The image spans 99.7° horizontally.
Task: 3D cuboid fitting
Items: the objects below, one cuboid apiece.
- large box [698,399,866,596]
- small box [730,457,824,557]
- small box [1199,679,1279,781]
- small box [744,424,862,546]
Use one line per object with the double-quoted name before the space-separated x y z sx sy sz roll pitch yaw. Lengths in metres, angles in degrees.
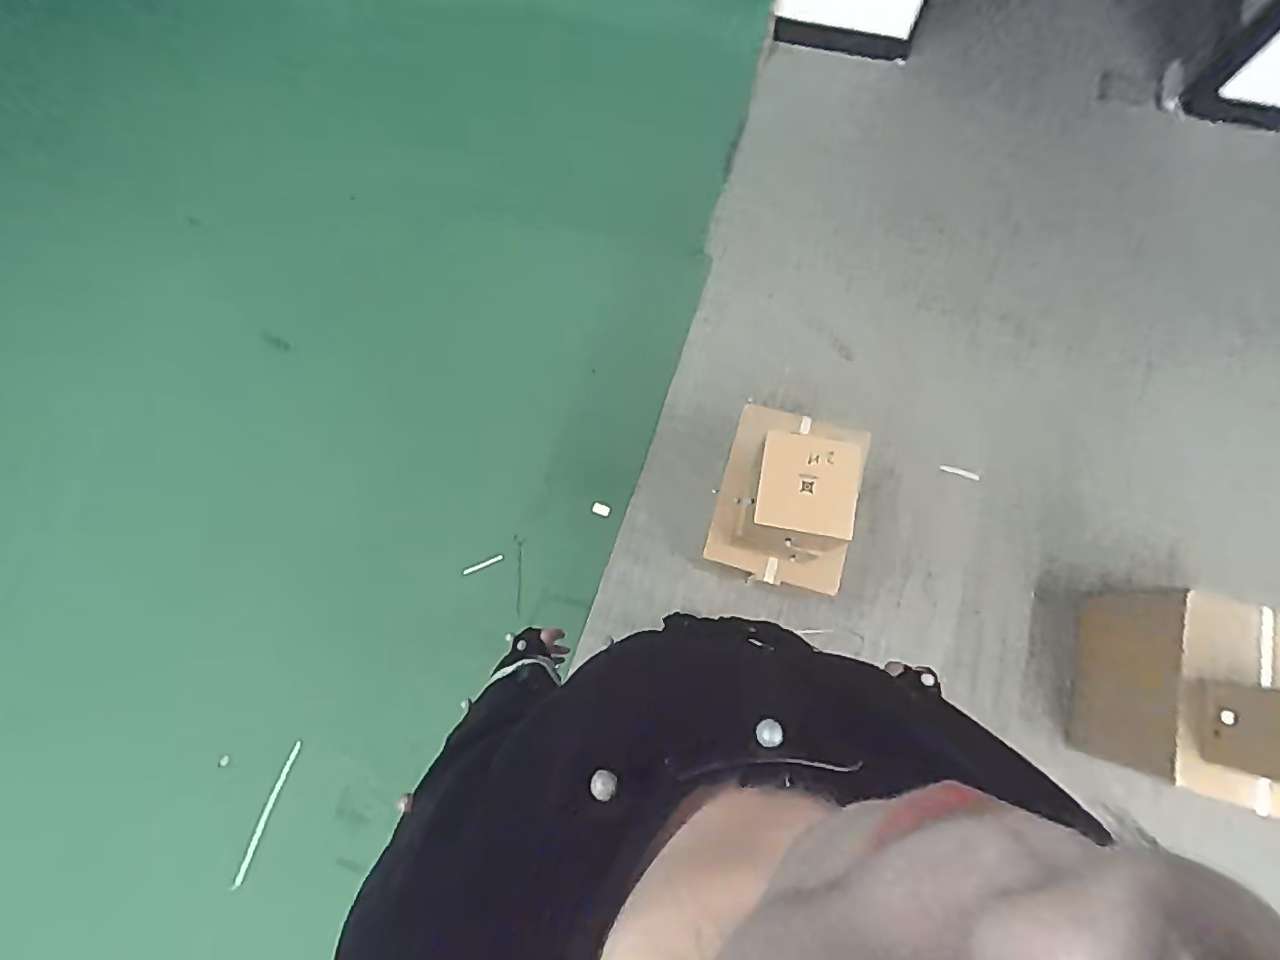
"large box" 0.351 0.061 1.409 0.320 0.320 0.408 16 76 7
"small box" 0.301 0.063 1.161 0.179 0.176 0.168 15 77 8
"small box" 1.225 0.484 1.014 0.179 0.176 0.168 14 78 8
"small box" 0.294 0.018 1.003 0.168 0.176 0.179 11 76 6
